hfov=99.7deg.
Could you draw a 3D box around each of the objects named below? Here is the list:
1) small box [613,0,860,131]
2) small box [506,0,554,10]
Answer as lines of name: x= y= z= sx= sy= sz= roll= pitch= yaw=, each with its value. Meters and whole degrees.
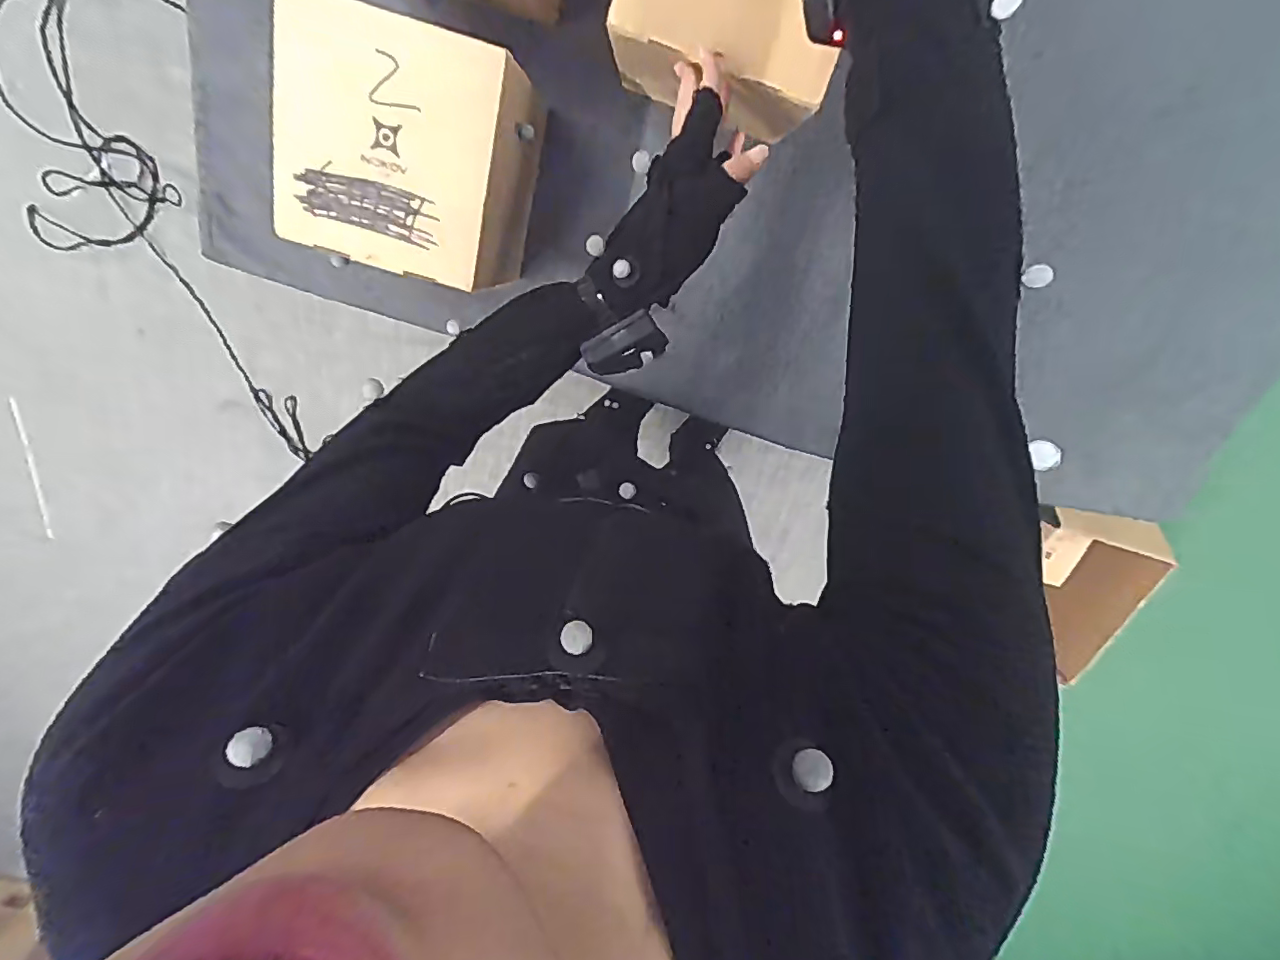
small box: x=0.083 y=-0.409 z=0.428 sx=0.168 sy=0.176 sz=0.179 roll=16 pitch=116 yaw=-6
small box: x=-0.139 y=-0.492 z=0.393 sx=0.168 sy=0.176 sz=0.179 roll=14 pitch=115 yaw=-5
